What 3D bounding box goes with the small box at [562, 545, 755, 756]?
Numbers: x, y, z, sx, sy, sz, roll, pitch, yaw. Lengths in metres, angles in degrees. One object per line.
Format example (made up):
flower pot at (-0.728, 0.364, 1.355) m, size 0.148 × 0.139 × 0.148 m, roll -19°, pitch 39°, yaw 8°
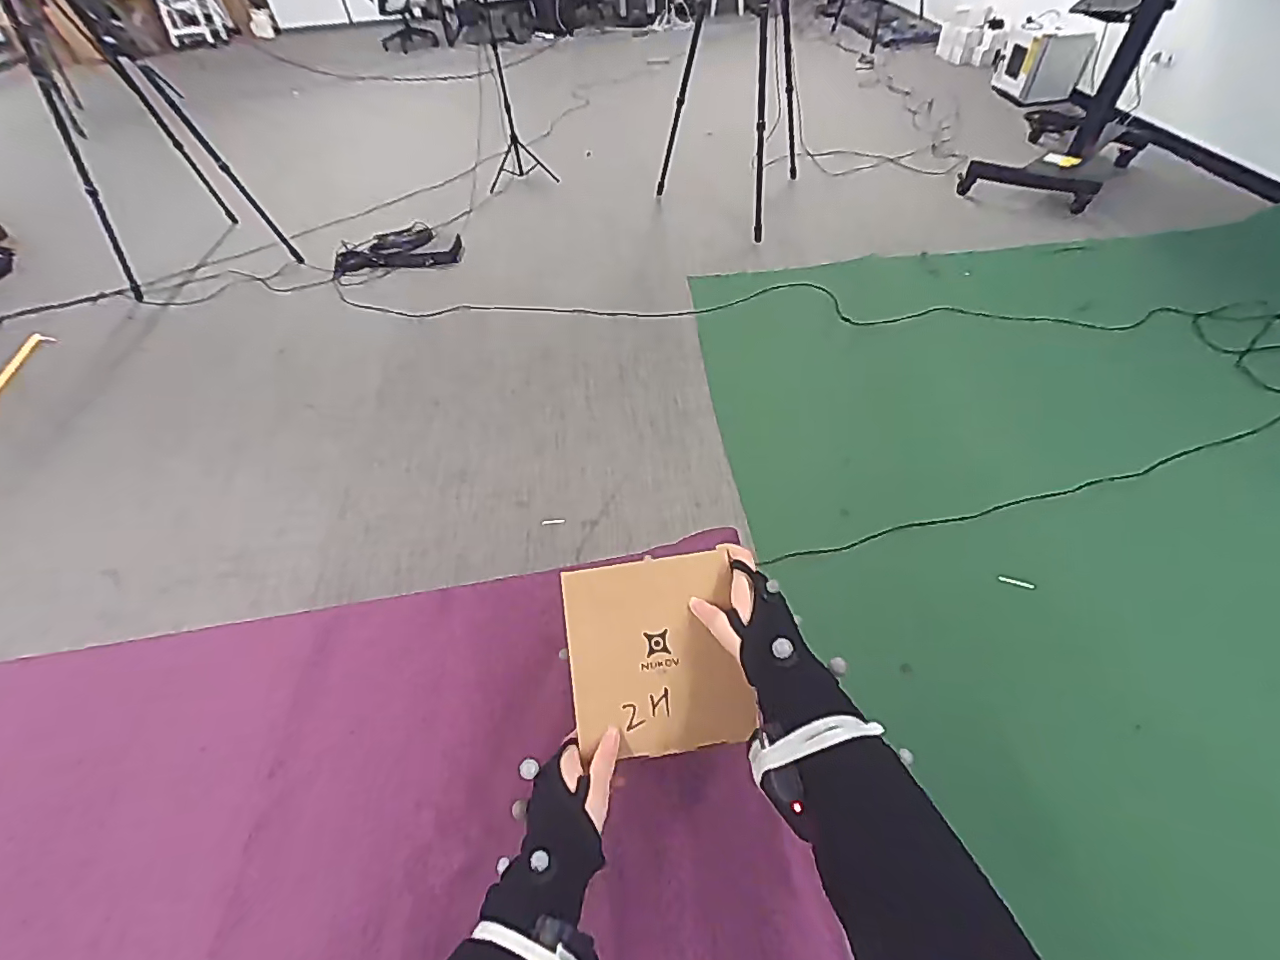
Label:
small box at (0.014, 0.178, 0.584) m, size 0.168 × 0.176 × 0.179 m, roll -8°, pitch 75°, yaw -1°
